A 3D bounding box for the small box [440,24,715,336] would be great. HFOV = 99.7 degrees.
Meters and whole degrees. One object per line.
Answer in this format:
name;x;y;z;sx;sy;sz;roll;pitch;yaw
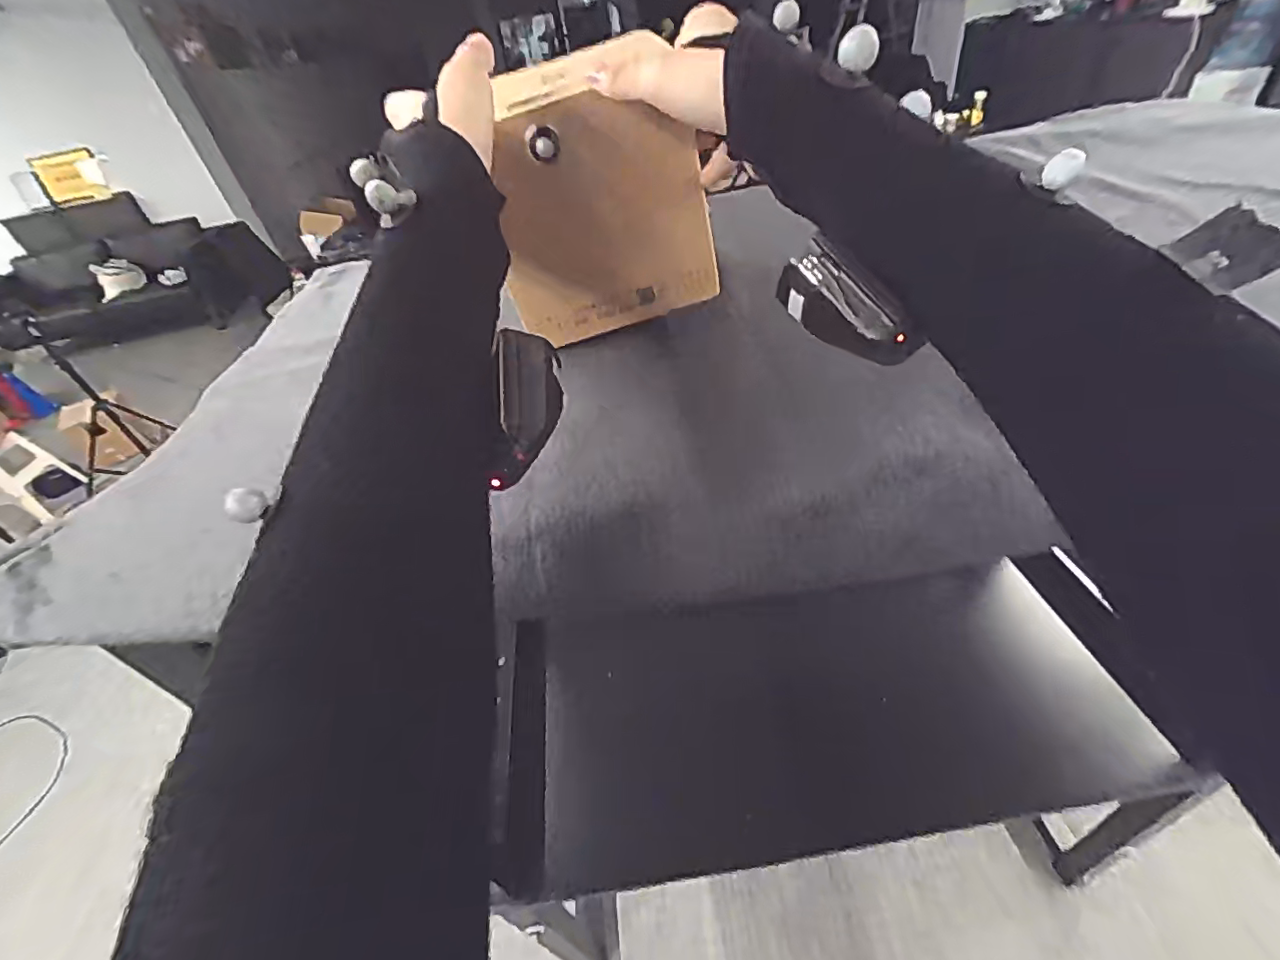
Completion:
small box;-0.043;-0.250;0.458;0.168;0.176;0.179;-16;44;5
